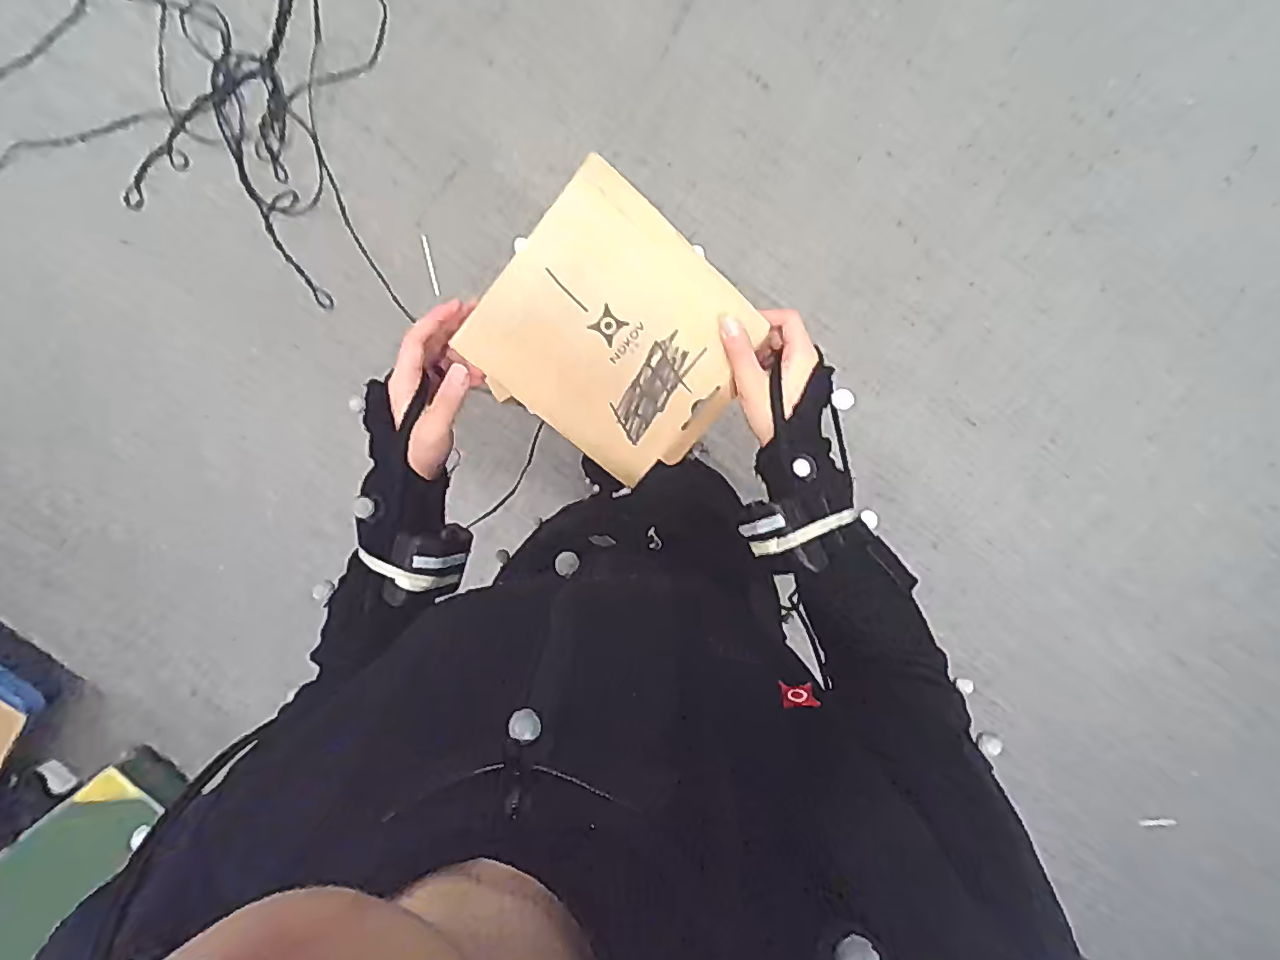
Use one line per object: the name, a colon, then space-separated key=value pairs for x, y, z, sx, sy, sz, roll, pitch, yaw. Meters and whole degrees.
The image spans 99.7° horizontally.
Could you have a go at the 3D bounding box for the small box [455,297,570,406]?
small box: x=-0.279 y=-0.286 z=1.232 sx=0.168 sy=0.176 sz=0.179 roll=-32 pitch=96 yaw=6
